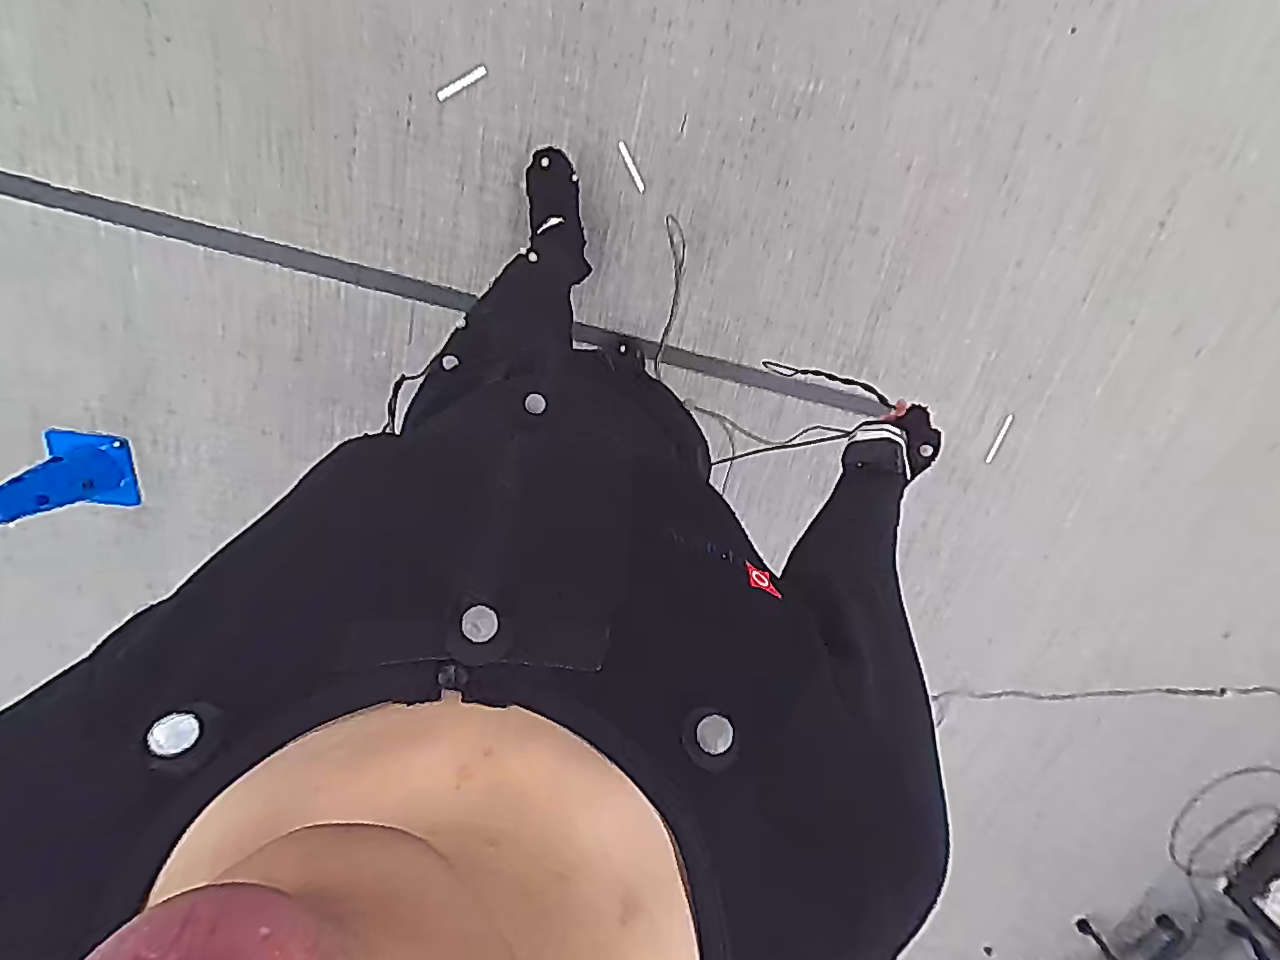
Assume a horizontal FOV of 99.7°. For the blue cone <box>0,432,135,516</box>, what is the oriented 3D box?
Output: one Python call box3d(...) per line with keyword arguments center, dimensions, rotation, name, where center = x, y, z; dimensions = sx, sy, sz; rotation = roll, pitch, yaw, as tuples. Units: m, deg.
box3d(center=(-1.428, 0.031, 1.264), dimensions=(0.193, 0.380, 0.192), rotation=(7, 111, -5), name="blue cone")
